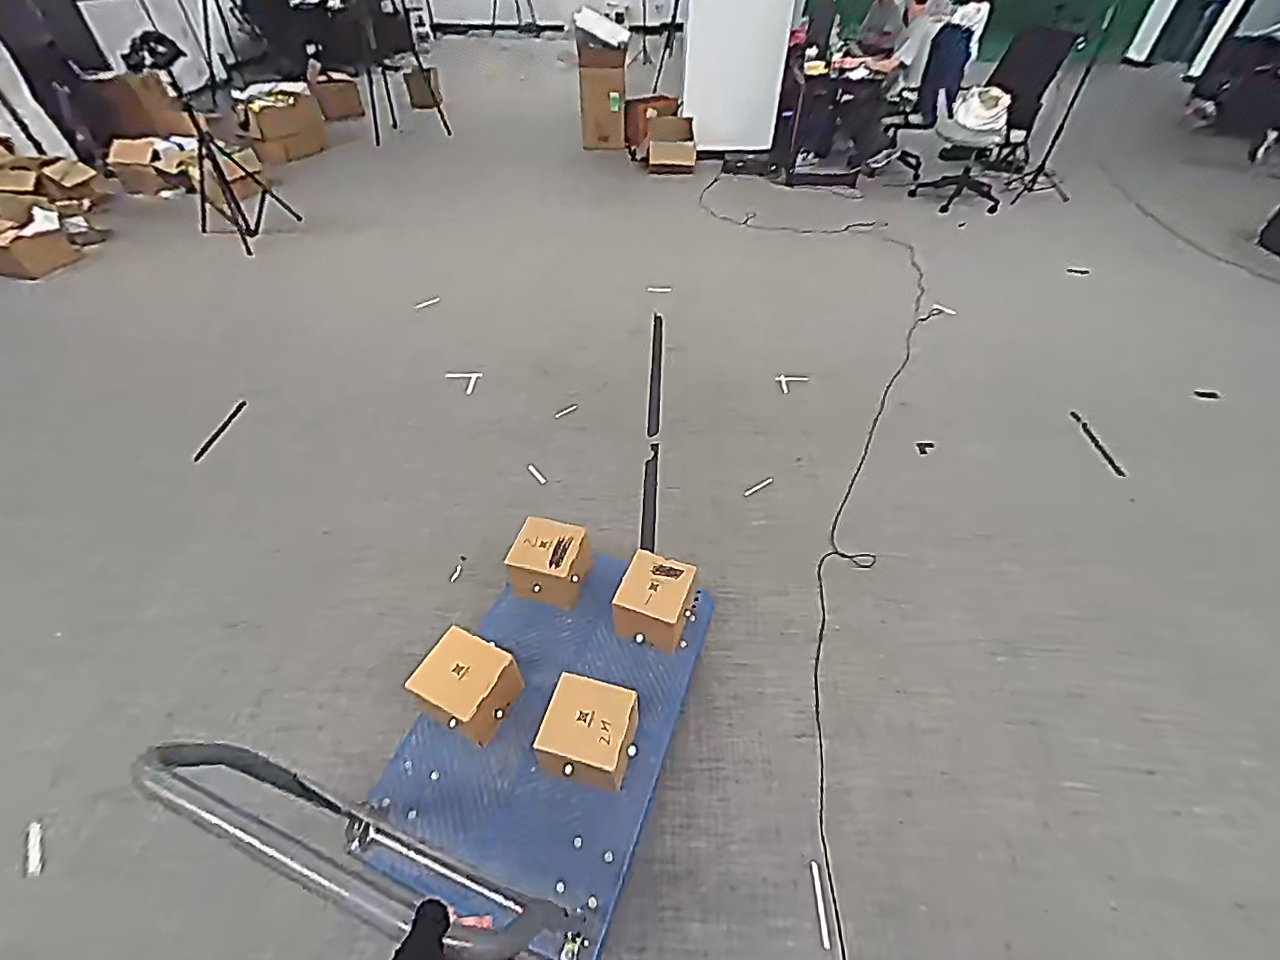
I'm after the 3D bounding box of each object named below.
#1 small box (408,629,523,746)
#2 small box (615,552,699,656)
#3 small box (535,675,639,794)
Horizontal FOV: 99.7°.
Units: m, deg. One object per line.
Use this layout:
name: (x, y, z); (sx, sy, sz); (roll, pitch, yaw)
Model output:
small box: (-0.396, 0.484, 1.253); (0.179, 0.176, 0.168); (20, 49, 17)
small box: (0.044, 0.322, 1.405); (0.168, 0.176, 0.179); (16, 49, 15)
small box: (-0.107, 0.557, 1.179); (0.179, 0.176, 0.168); (11, 47, 12)
